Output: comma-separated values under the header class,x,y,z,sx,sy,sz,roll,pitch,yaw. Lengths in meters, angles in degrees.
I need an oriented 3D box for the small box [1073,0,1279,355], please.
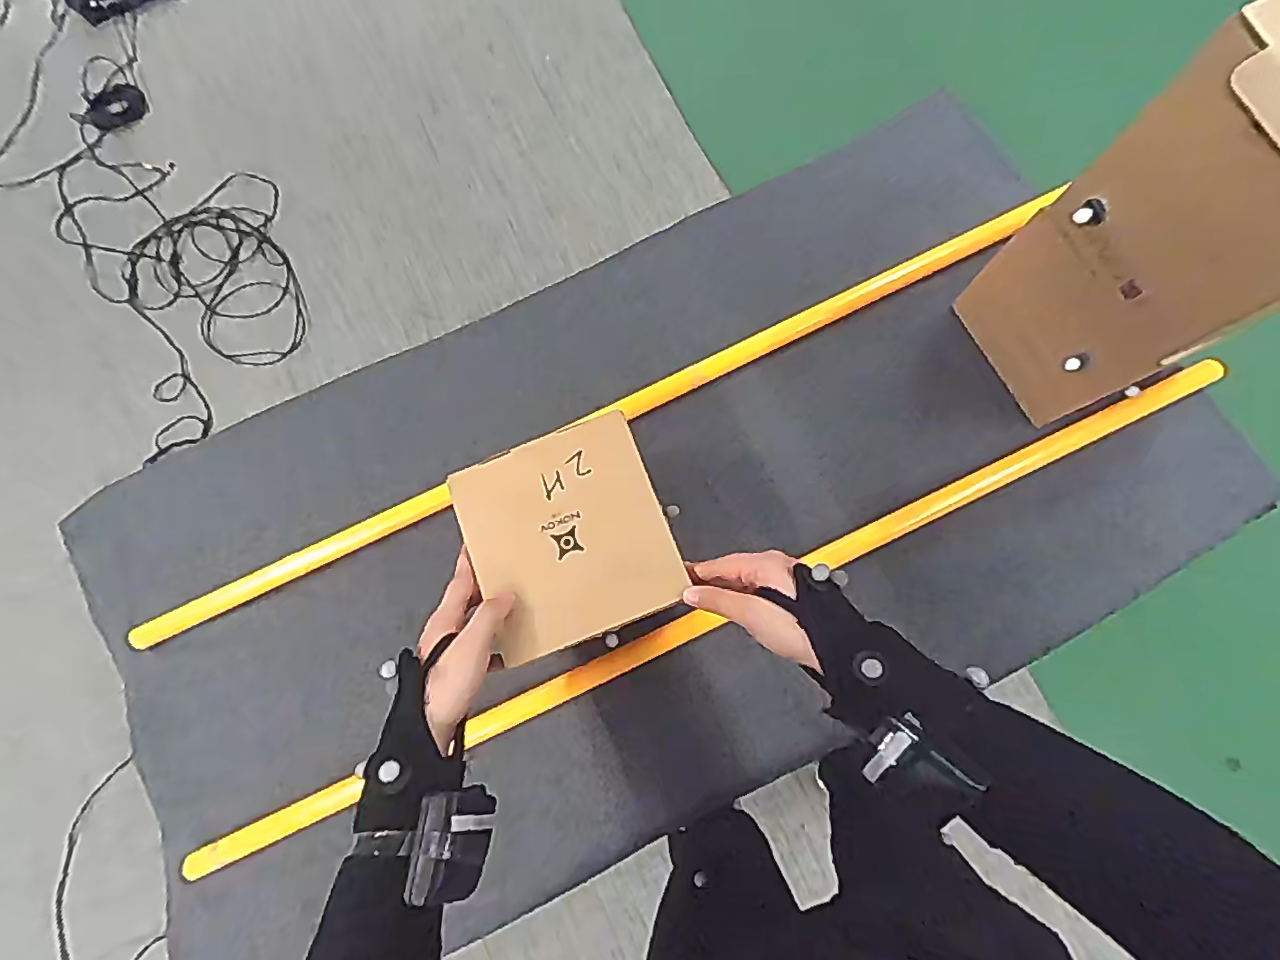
class,x,y,z,sx,sy,sz,roll,pitch,yaw
small box,0.464,-0.215,0.384,0.179,0.176,0.168,-21,78,-1
